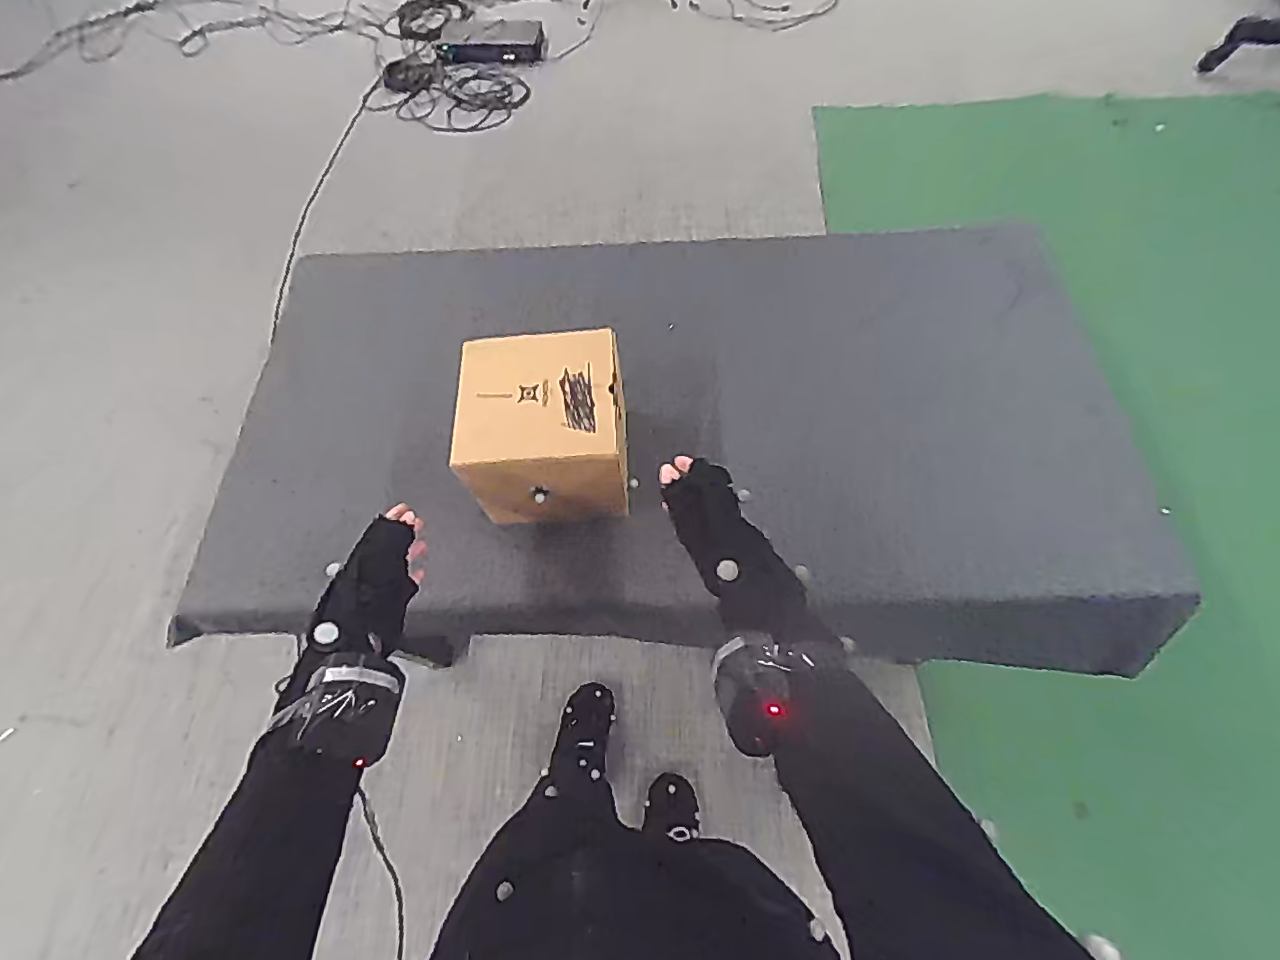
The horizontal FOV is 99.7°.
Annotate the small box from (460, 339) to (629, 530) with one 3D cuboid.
[{"bbox_3d":[-0.105,-0.048,0.661,0.179,0.176,0.168,-6,64,-1],"label":"small box"}]
